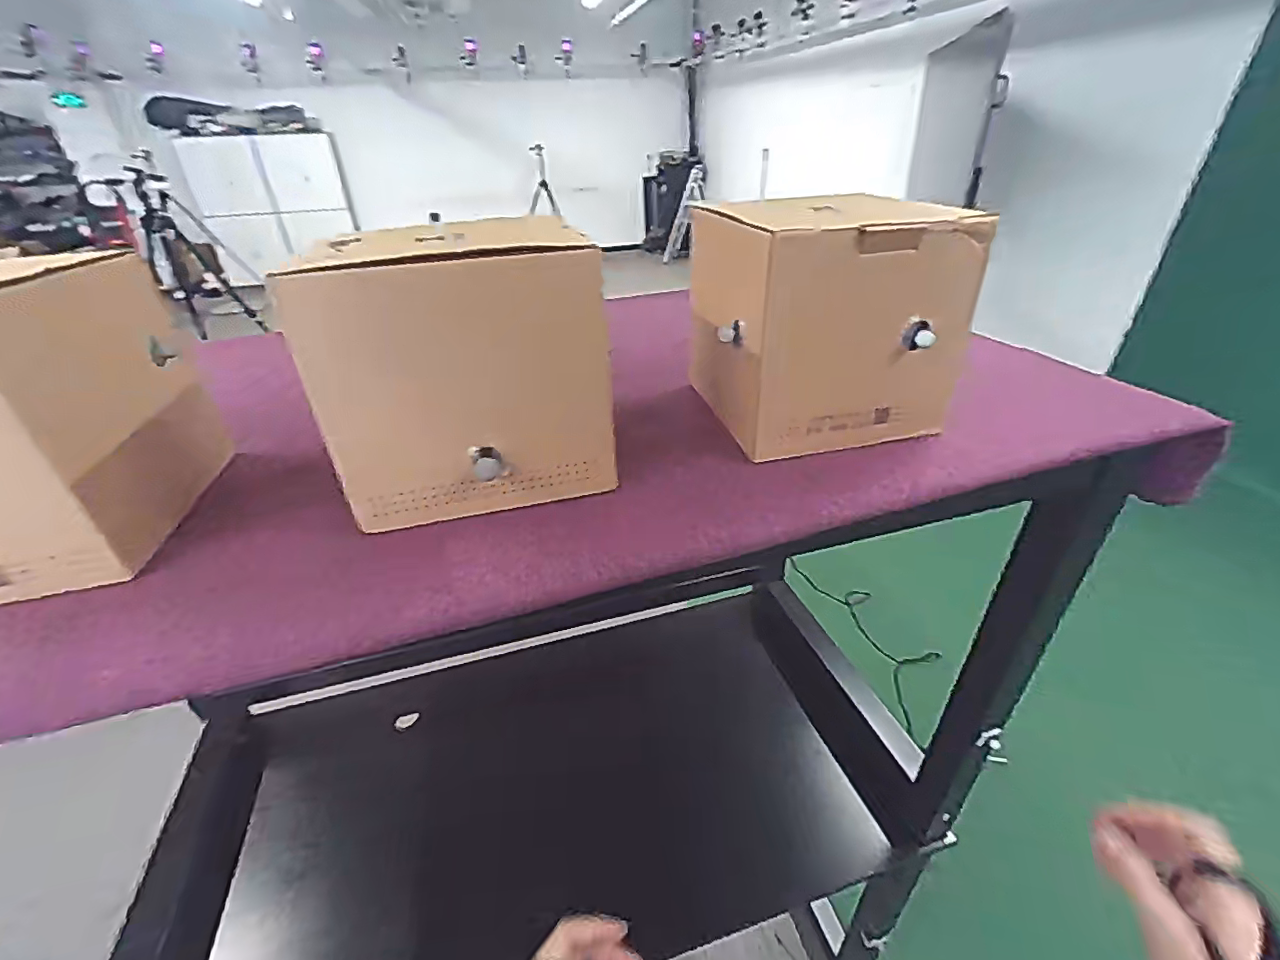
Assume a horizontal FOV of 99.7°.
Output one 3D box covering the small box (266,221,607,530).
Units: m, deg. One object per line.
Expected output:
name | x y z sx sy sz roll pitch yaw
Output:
small box | -0.124 -0.085 0.394 0.179 0.176 0.168 -10 31 -13

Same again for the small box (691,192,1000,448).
small box | 0.145 -0.135 0.453 0.168 0.176 0.179 -8 32 -9
